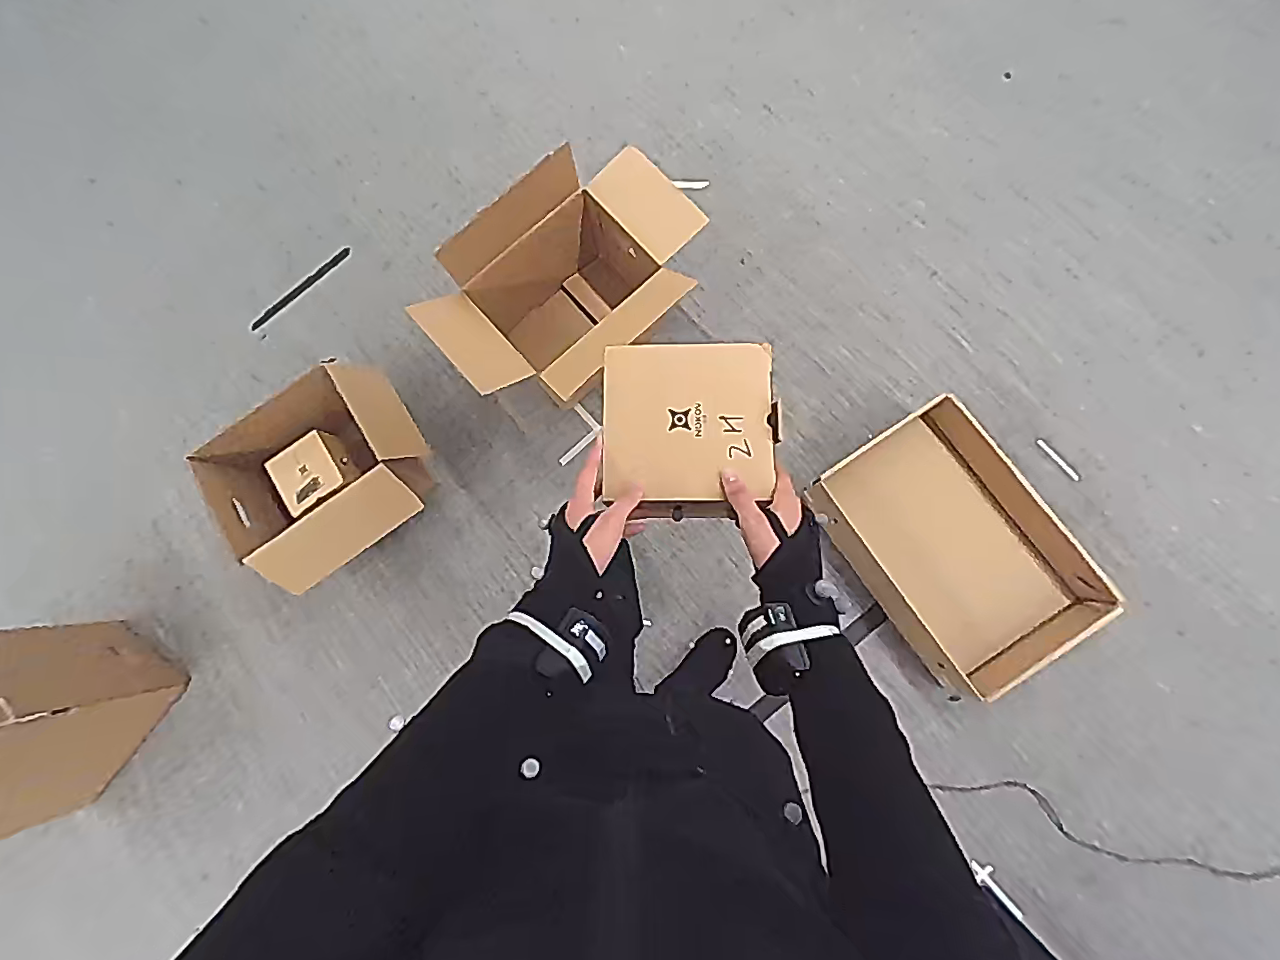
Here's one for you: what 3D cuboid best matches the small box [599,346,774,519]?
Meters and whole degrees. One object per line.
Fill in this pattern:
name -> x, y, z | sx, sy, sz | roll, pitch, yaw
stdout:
small box -> 0.052, -0.044, 0.628 | 0.179, 0.176, 0.168 | 0, 80, 2
